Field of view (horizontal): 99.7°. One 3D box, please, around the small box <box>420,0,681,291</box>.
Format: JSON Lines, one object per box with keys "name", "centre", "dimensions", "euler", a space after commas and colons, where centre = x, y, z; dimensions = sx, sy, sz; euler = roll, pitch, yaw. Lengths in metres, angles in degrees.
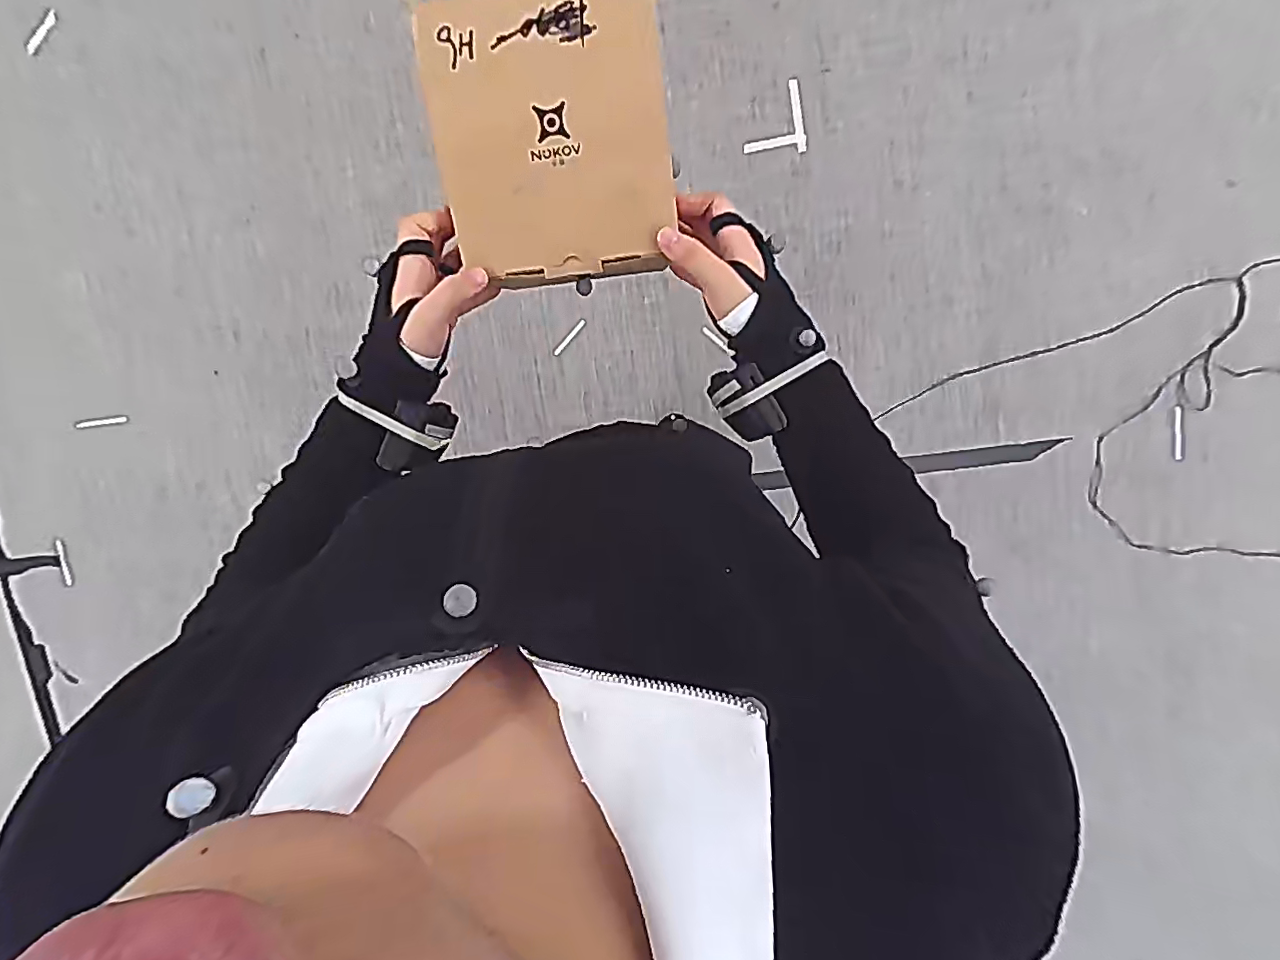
{"name": "small box", "centre": [-0.058, -0.263, 0.462], "dimensions": [0.168, 0.176, 0.179], "euler": [-7, 108, 2]}
